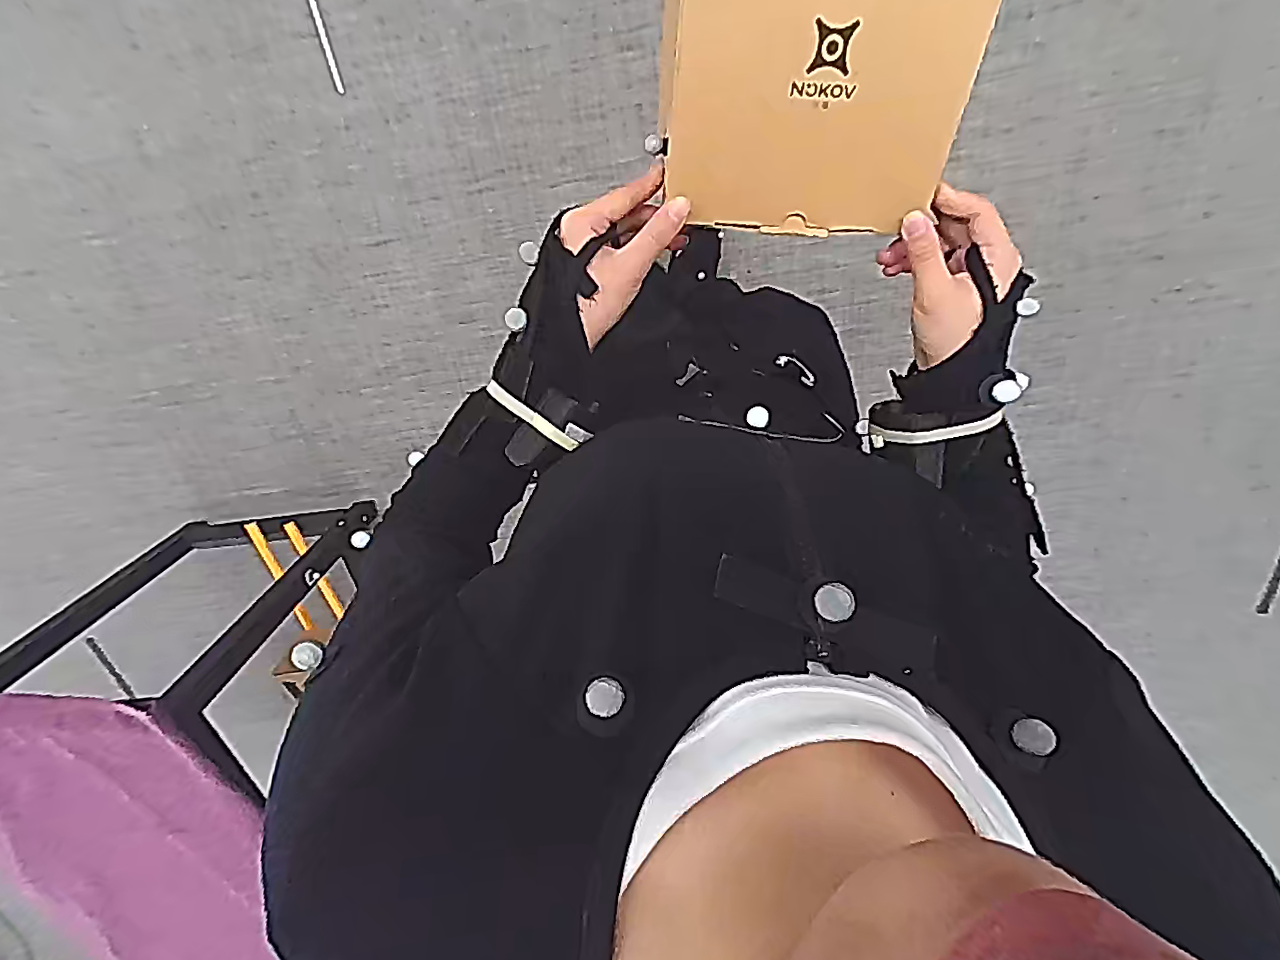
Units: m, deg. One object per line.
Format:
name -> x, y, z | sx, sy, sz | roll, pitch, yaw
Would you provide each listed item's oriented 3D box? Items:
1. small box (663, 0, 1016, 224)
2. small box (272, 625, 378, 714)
small box -> 0.104, -0.279, 0.341 | 0.168, 0.176, 0.179 | 1, 129, -2
small box -> -0.898, 0.542, 1.560 | 0.179, 0.176, 0.168 | -10, 118, 3
